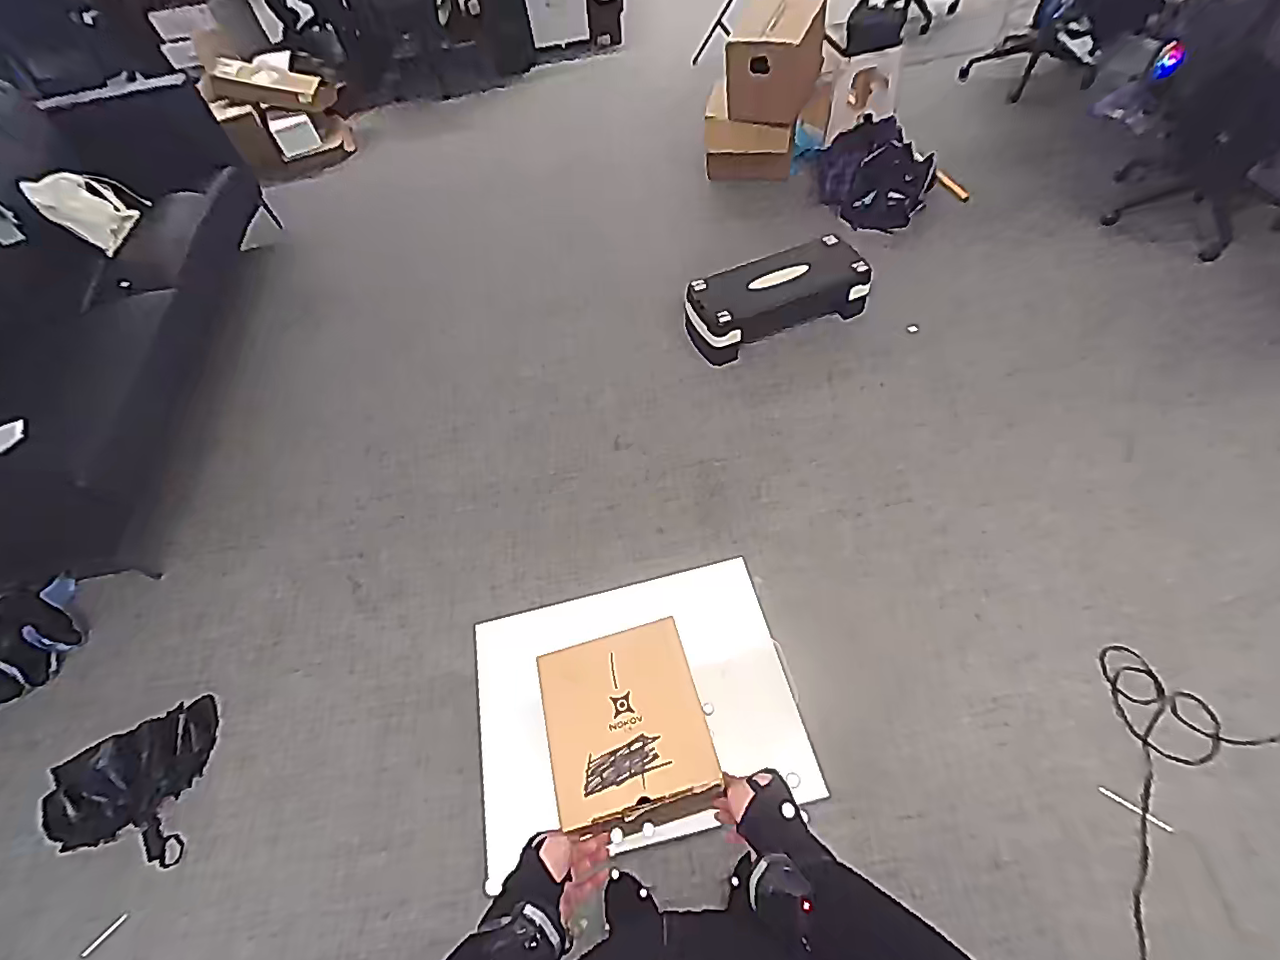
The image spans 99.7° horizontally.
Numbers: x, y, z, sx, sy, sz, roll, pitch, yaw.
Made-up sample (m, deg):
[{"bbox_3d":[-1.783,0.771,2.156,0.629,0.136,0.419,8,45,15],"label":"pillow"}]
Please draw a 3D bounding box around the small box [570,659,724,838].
[{"bbox_3d":[0.011,0.385,0.769,0.168,0.176,0.179,-18,55,-4],"label":"small box"}]
